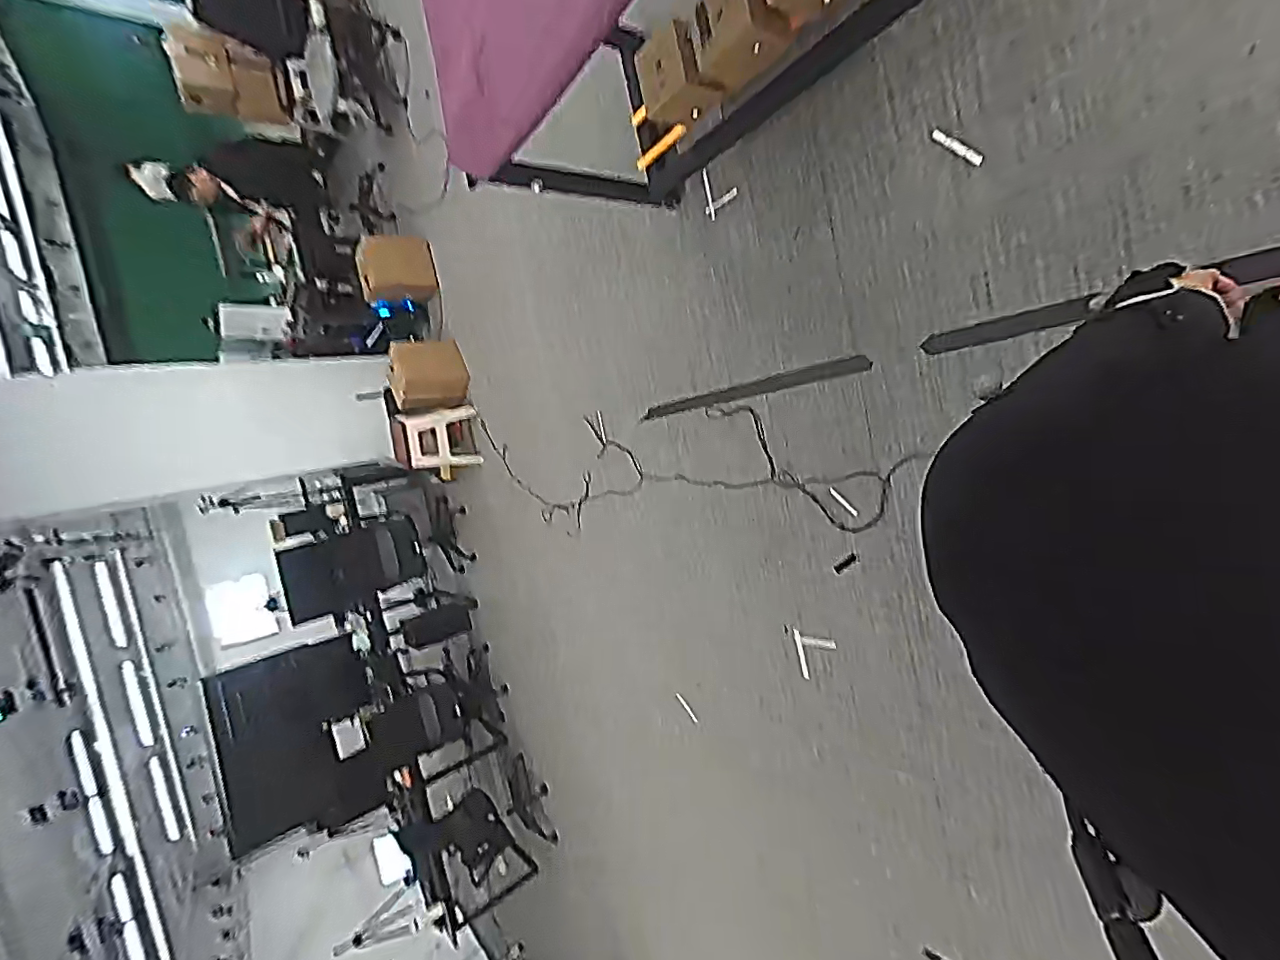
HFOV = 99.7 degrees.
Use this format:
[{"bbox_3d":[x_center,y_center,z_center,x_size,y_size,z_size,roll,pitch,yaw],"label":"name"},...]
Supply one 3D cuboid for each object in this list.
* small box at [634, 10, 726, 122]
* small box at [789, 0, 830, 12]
[{"bbox_3d":[0.113,-1.130,1.493,0.168,0.176,0.179,-6,100,52],"label":"small box"},{"bbox_3d":[0.369,-1.161,1.153,0.168,0.176,0.179,-9,98,54],"label":"small box"}]
